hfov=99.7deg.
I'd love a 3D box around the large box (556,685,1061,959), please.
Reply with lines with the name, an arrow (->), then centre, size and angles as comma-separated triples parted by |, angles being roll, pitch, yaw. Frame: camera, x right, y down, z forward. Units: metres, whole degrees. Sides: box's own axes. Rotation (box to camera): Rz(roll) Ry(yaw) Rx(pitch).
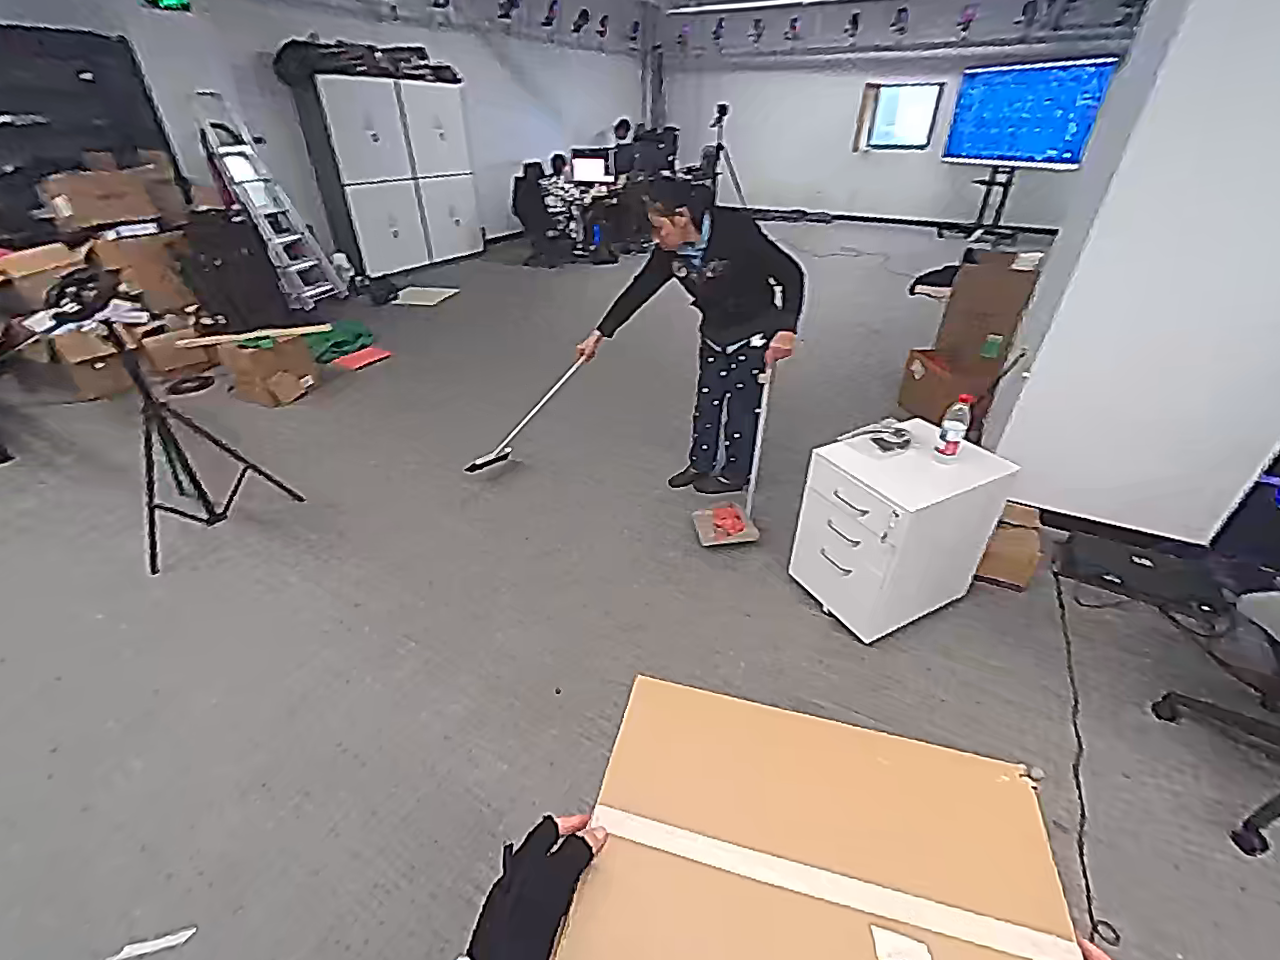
large box -> 0.150, 0.474, 0.570 | 0.408, 0.320, 0.320 | 9, 39, 12
